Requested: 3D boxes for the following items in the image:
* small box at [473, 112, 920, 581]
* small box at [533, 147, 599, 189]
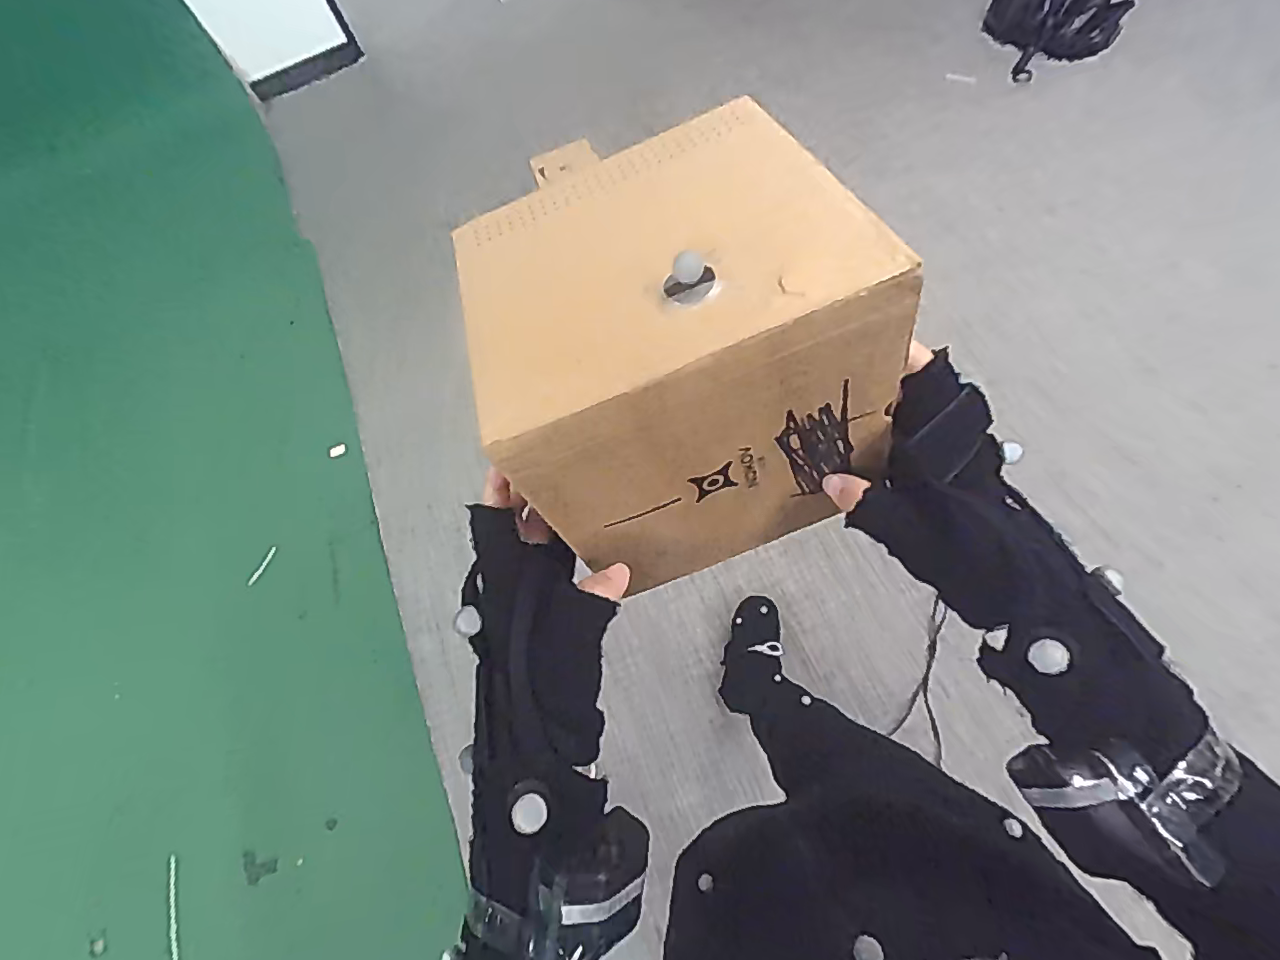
[{"bbox_3d":[0.023,-0.071,0.315,0.179,0.168,0.176,-22,55,4],"label":"small box"},{"bbox_3d":[-0.185,-0.804,1.554,0.179,0.176,0.168,-20,66,-1],"label":"small box"}]
